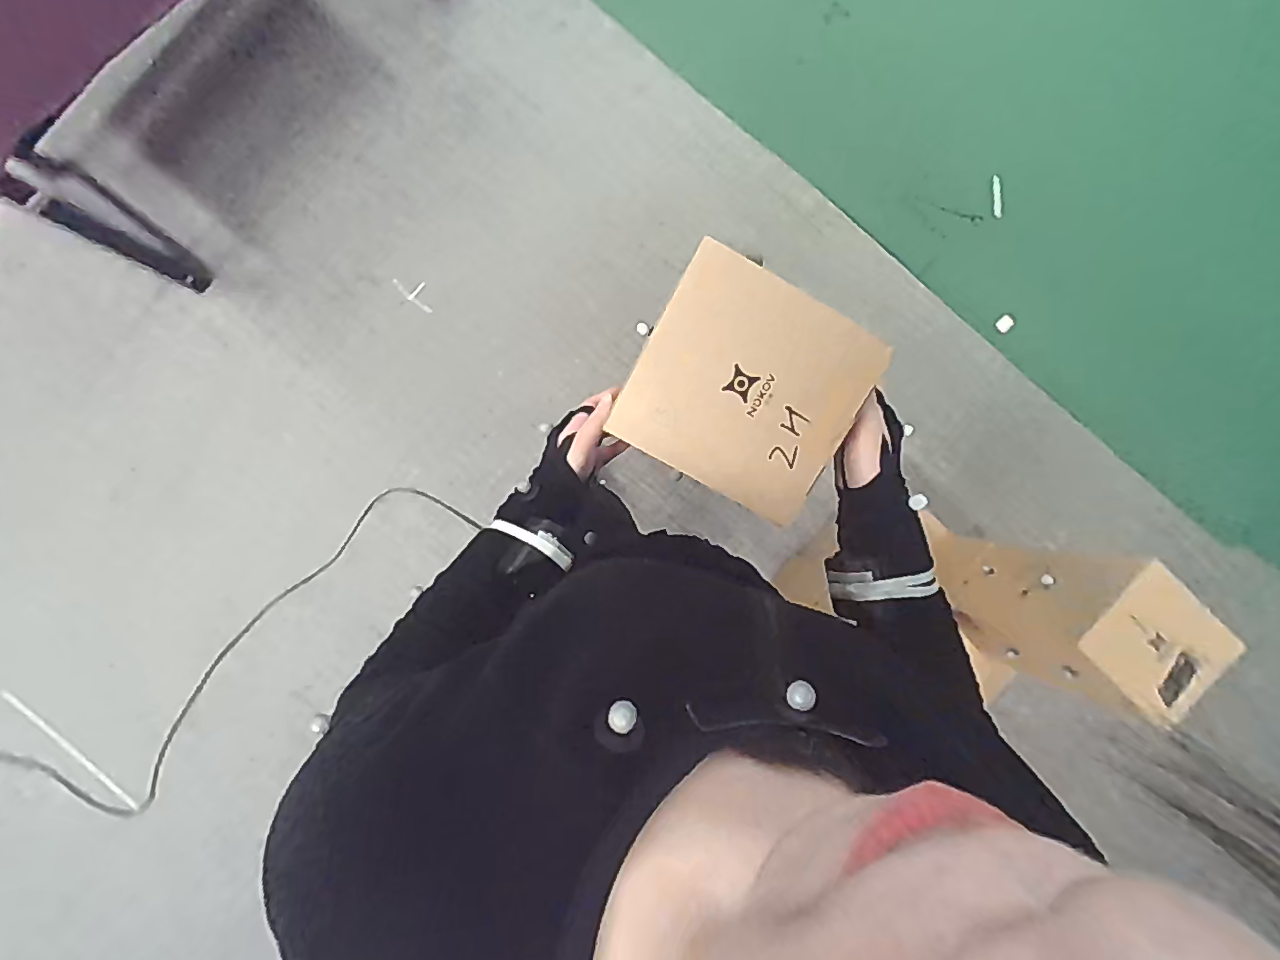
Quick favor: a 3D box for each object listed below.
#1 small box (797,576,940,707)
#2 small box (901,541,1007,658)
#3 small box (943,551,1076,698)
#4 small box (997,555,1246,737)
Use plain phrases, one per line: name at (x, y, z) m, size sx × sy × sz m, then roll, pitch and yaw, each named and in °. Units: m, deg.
small box at (0.458, 0.318, 1.110) m, size 0.168 × 0.176 × 0.179 m, roll -43°, pitch 91°, yaw -2°
small box at (0.689, 0.241, 1.123) m, size 0.168 × 0.176 × 0.179 m, roll -45°, pitch 91°, yaw -3°
small box at (0.694, 0.242, 0.959) m, size 0.179 × 0.176 × 0.168 m, roll 45°, pitch 87°, yaw 1°
small box at (0.690, 0.227, 0.797) m, size 0.168 × 0.176 × 0.179 m, roll -45°, pitch 89°, yaw -3°
